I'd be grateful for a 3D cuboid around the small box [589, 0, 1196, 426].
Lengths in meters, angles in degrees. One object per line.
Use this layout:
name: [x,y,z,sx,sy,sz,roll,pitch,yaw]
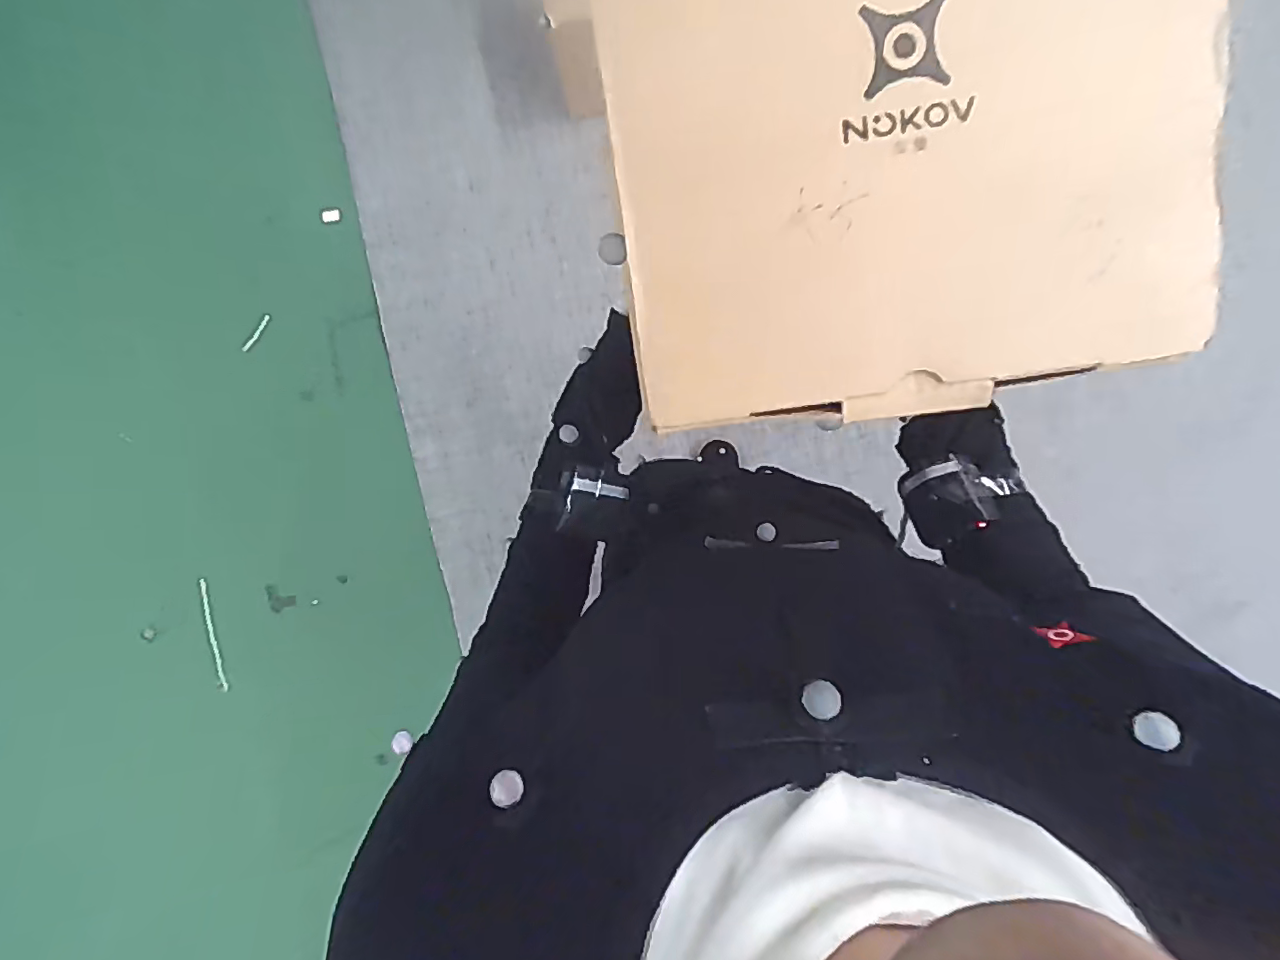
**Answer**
small box: [0.075,-0.128,0.235,0.168,0.176,0.179,-7,101,4]
